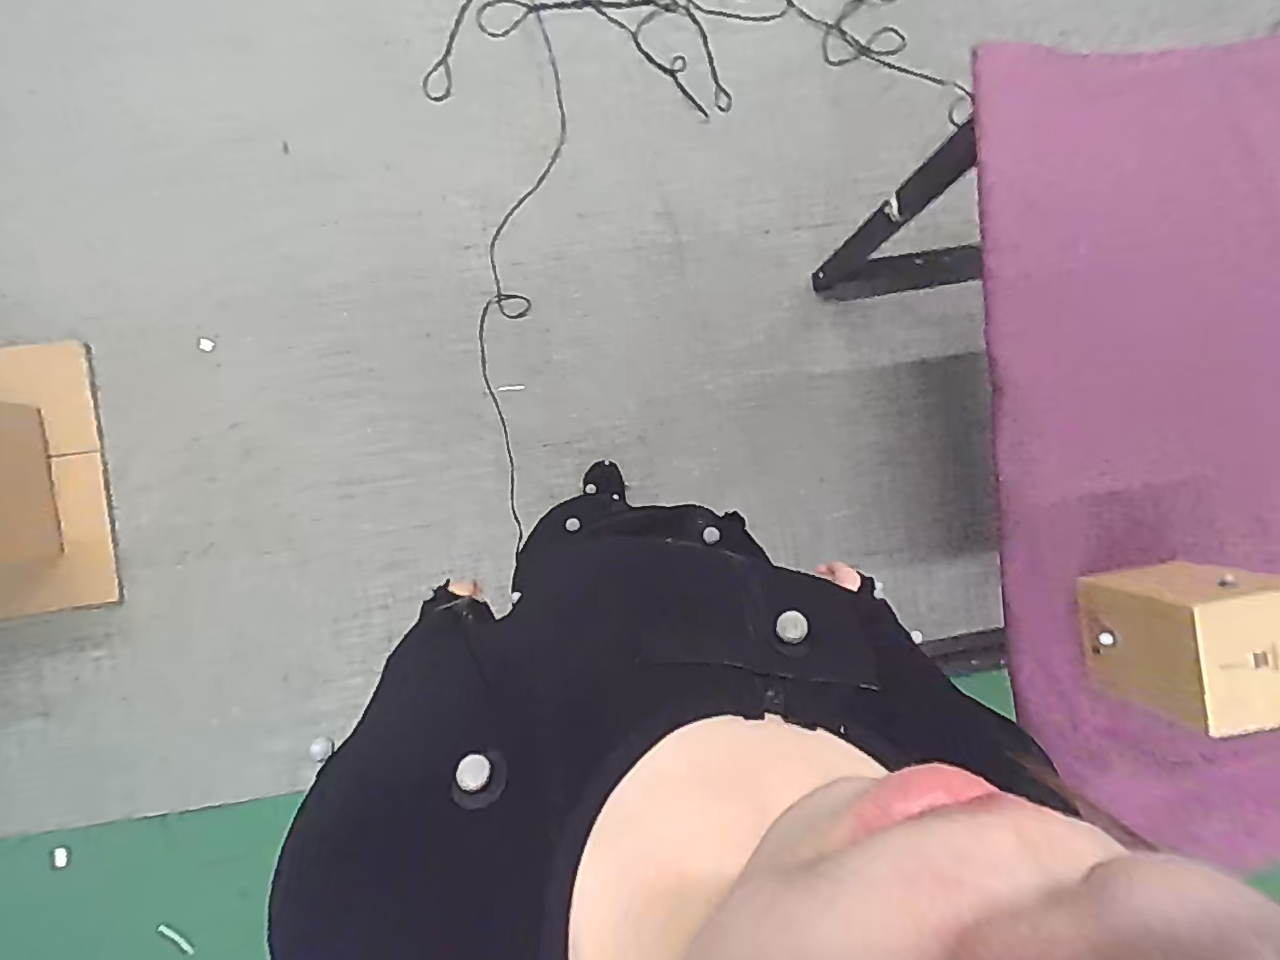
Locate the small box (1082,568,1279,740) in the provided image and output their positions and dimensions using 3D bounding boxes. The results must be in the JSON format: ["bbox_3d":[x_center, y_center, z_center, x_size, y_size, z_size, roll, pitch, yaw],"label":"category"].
[{"bbox_3d":[0.758,0.221,0.732,0.179,0.176,0.168,-8,90,-3],"label":"small box"}]
